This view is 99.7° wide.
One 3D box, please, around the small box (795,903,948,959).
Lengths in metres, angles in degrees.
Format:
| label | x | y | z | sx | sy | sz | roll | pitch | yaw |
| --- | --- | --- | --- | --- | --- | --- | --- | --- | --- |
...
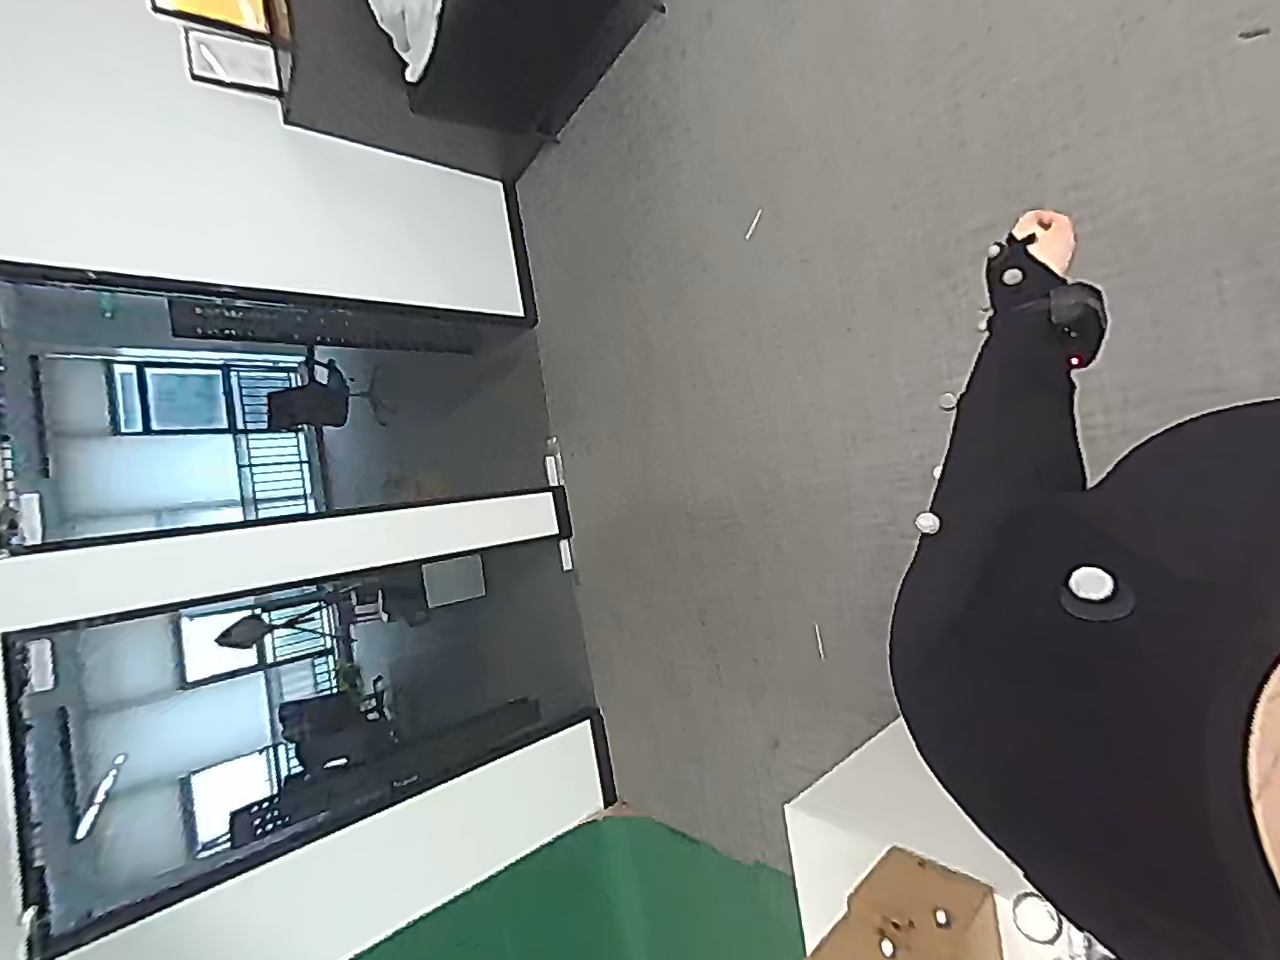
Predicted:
| label | x | y | z | sx | sy | sz | roll | pitch | yaw |
| --- | --- | --- | --- | --- | --- | --- | --- | --- | --- |
| small box | 0.341 | 0.766 | 0.766 | 0.168 | 0.176 | 0.179 | -11 | 87 | 50 |
